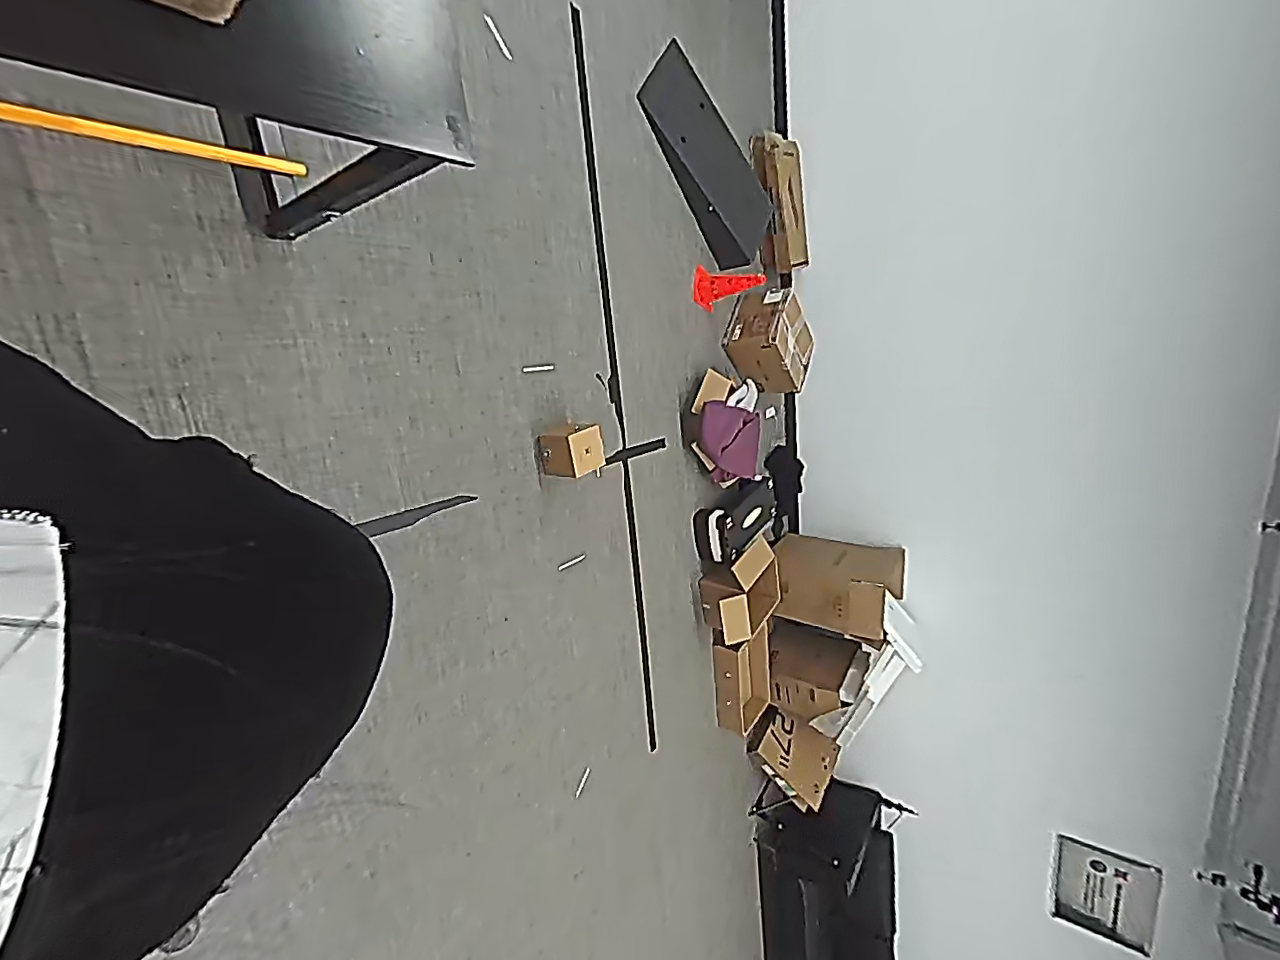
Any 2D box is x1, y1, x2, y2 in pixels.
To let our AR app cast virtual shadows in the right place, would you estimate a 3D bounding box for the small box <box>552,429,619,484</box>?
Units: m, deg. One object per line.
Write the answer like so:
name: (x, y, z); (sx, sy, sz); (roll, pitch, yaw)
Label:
small box: (-0.206, -0.095, 2.062); (0.179, 0.176, 0.168); (-30, 117, -47)
